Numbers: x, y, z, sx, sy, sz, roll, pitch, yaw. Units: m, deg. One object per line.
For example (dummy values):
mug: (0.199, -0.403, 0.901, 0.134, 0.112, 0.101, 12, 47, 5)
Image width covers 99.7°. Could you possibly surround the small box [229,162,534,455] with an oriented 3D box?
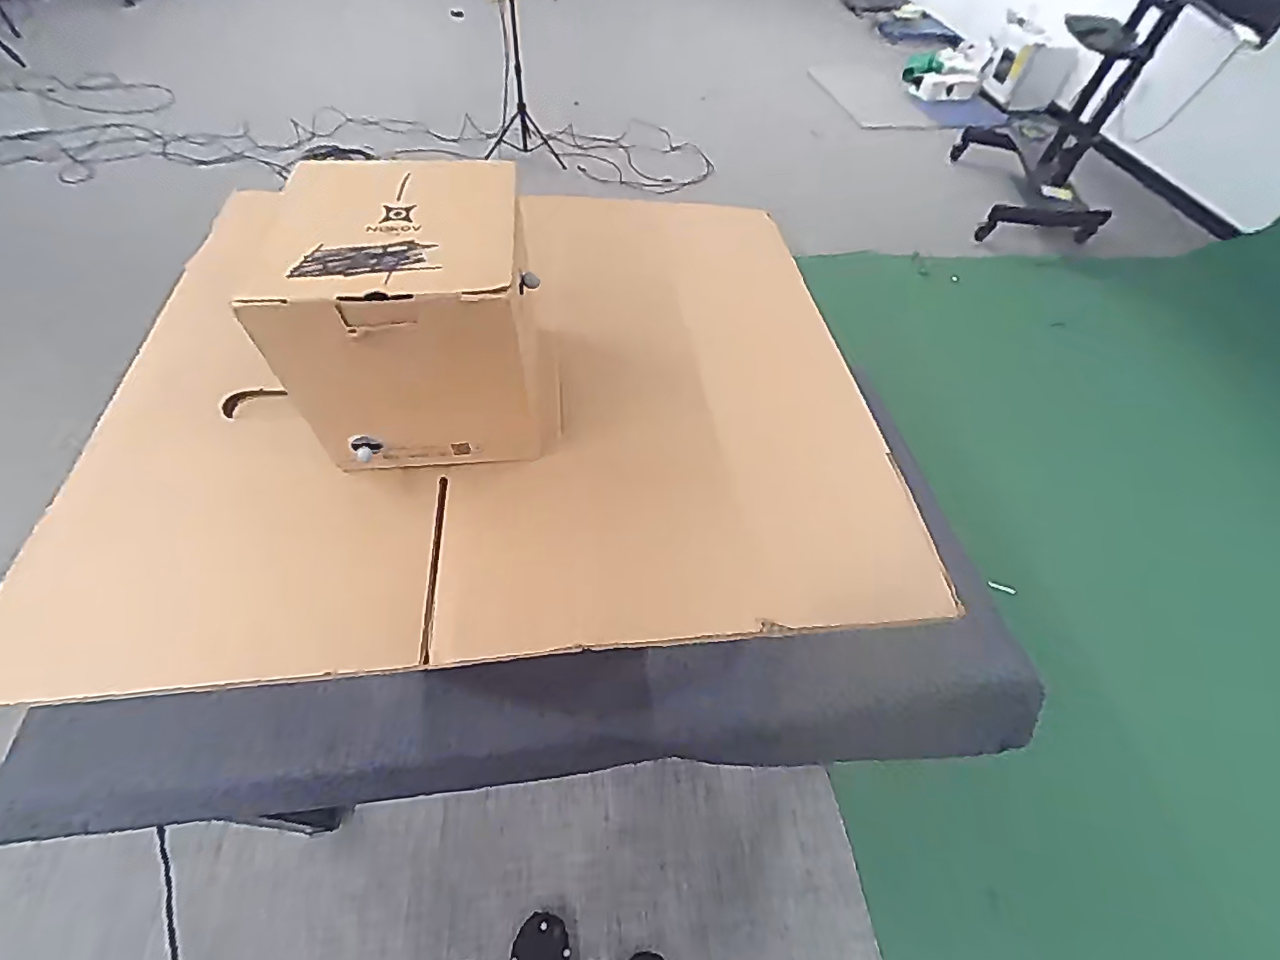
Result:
small box: (-0.179, -0.132, 0.443, 0.168, 0.176, 0.179, -4, 54, -6)
